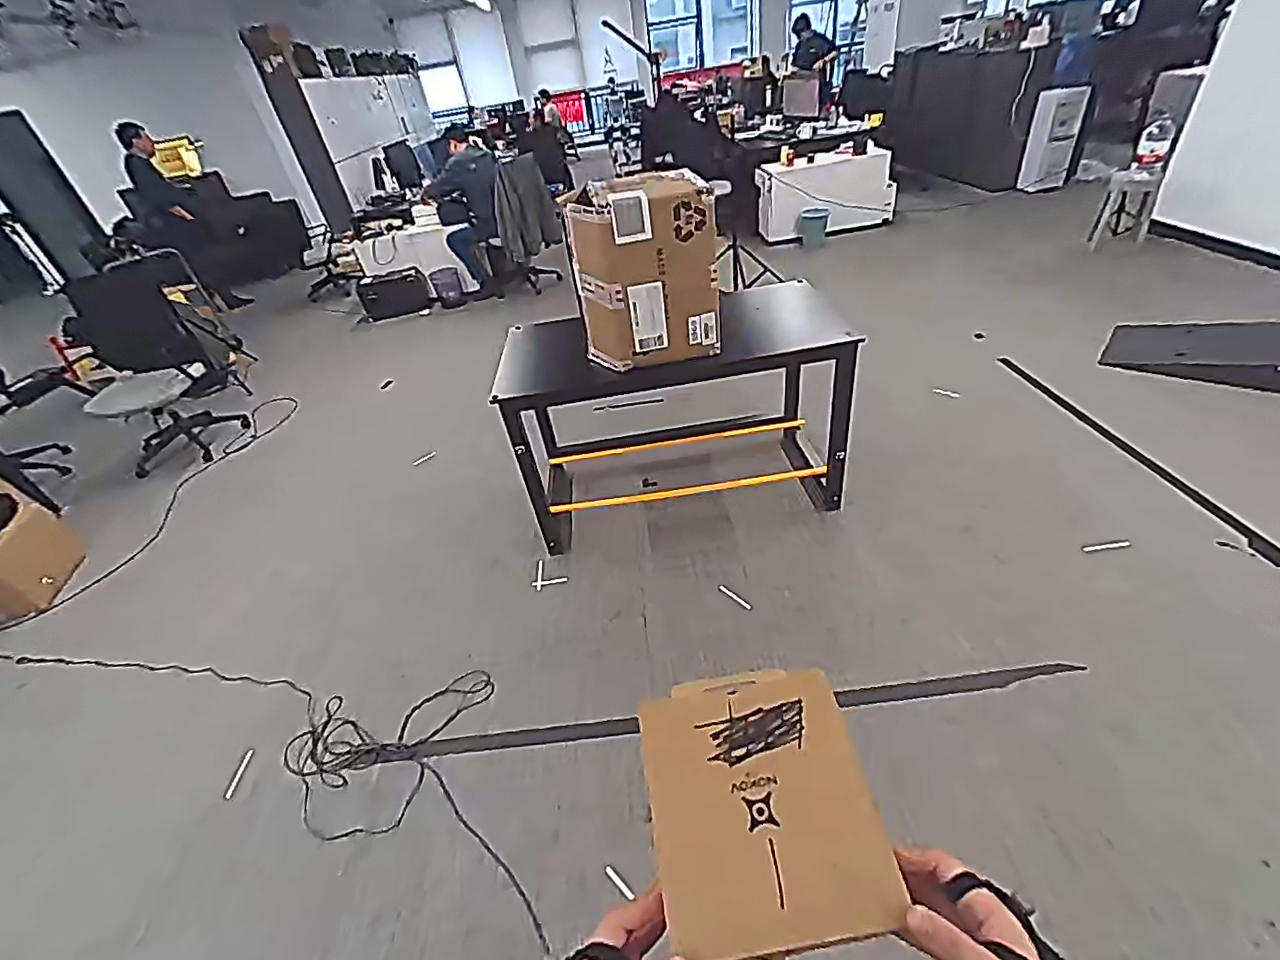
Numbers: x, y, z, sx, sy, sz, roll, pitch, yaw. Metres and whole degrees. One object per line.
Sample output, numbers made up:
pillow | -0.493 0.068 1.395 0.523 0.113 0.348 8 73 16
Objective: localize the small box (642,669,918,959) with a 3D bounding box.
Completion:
small box | 0.099 0.292 0.466 0.168 0.176 0.179 -11 47 0
